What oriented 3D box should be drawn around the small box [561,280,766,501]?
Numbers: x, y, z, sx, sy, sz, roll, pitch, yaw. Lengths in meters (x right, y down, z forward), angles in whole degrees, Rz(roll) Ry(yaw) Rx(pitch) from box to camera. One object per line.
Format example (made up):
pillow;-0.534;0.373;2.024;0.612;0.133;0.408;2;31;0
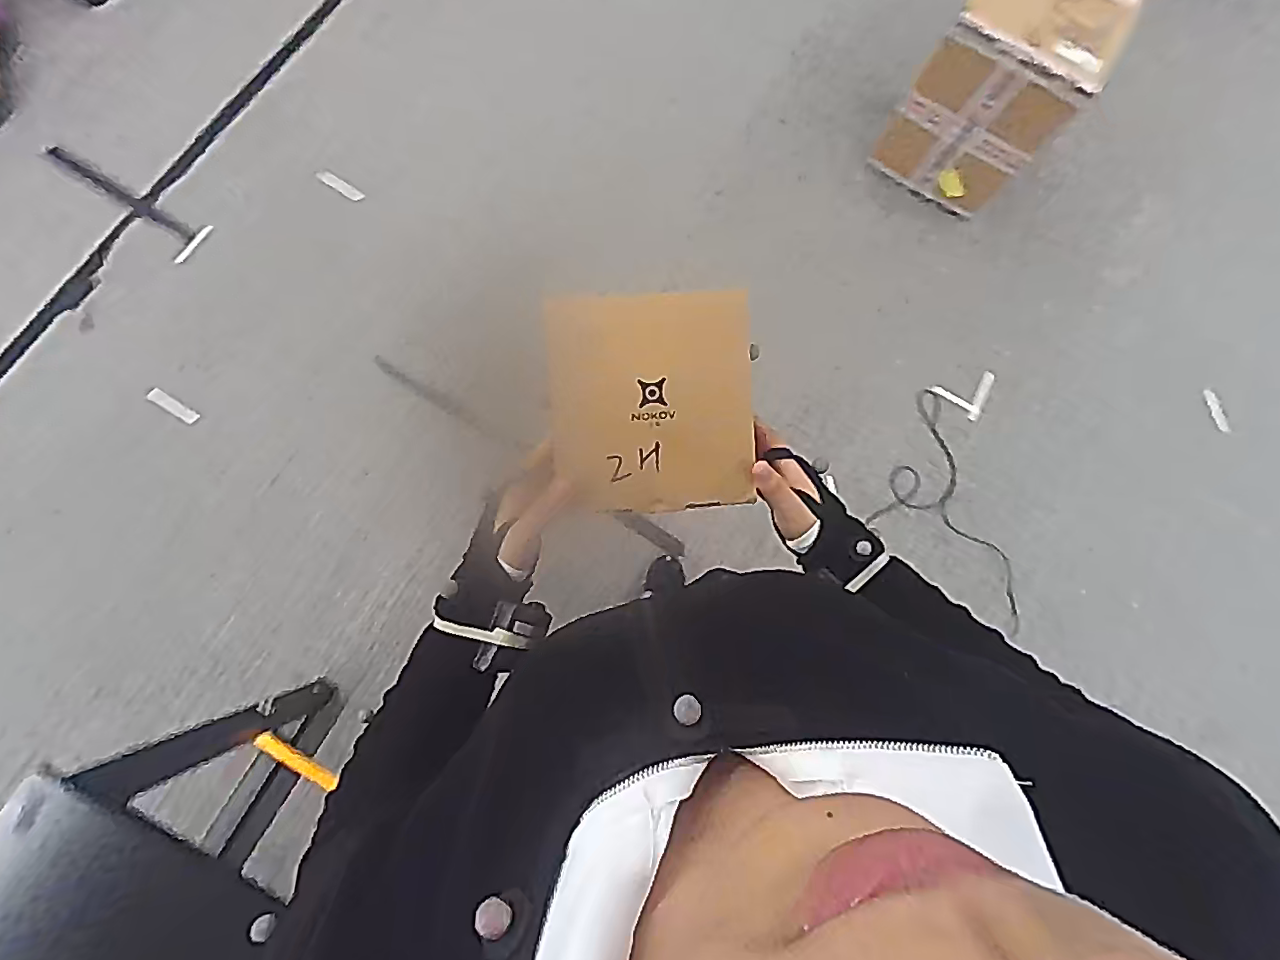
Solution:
small box;0.018;-0.076;0.516;0.168;0.176;0.179;-3;94;-1
